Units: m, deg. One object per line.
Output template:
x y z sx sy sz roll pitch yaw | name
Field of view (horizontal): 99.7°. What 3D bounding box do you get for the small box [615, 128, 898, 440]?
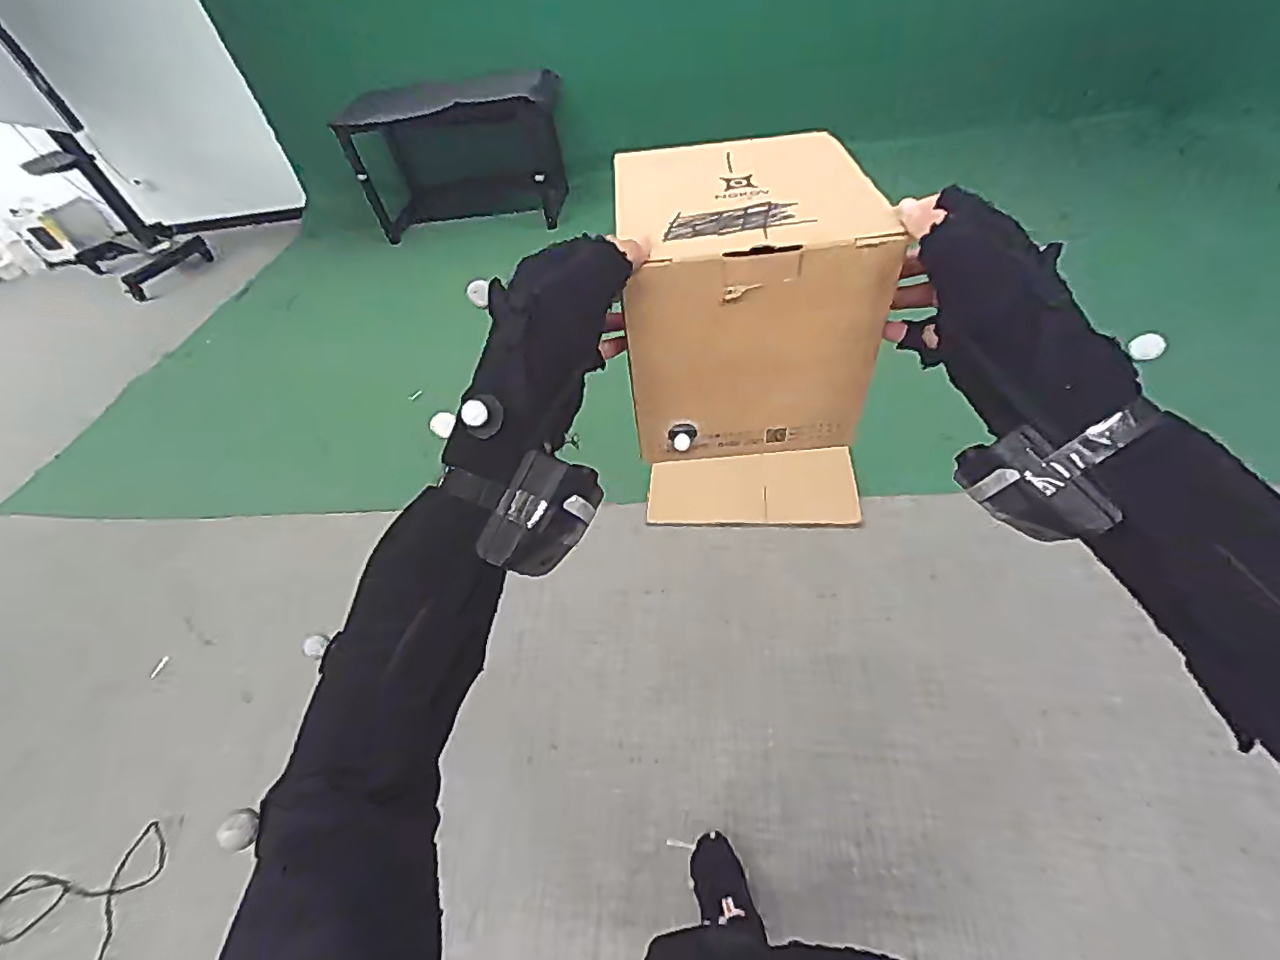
0.072 -0.144 0.423 0.168 0.176 0.179 -5 48 2 | small box
